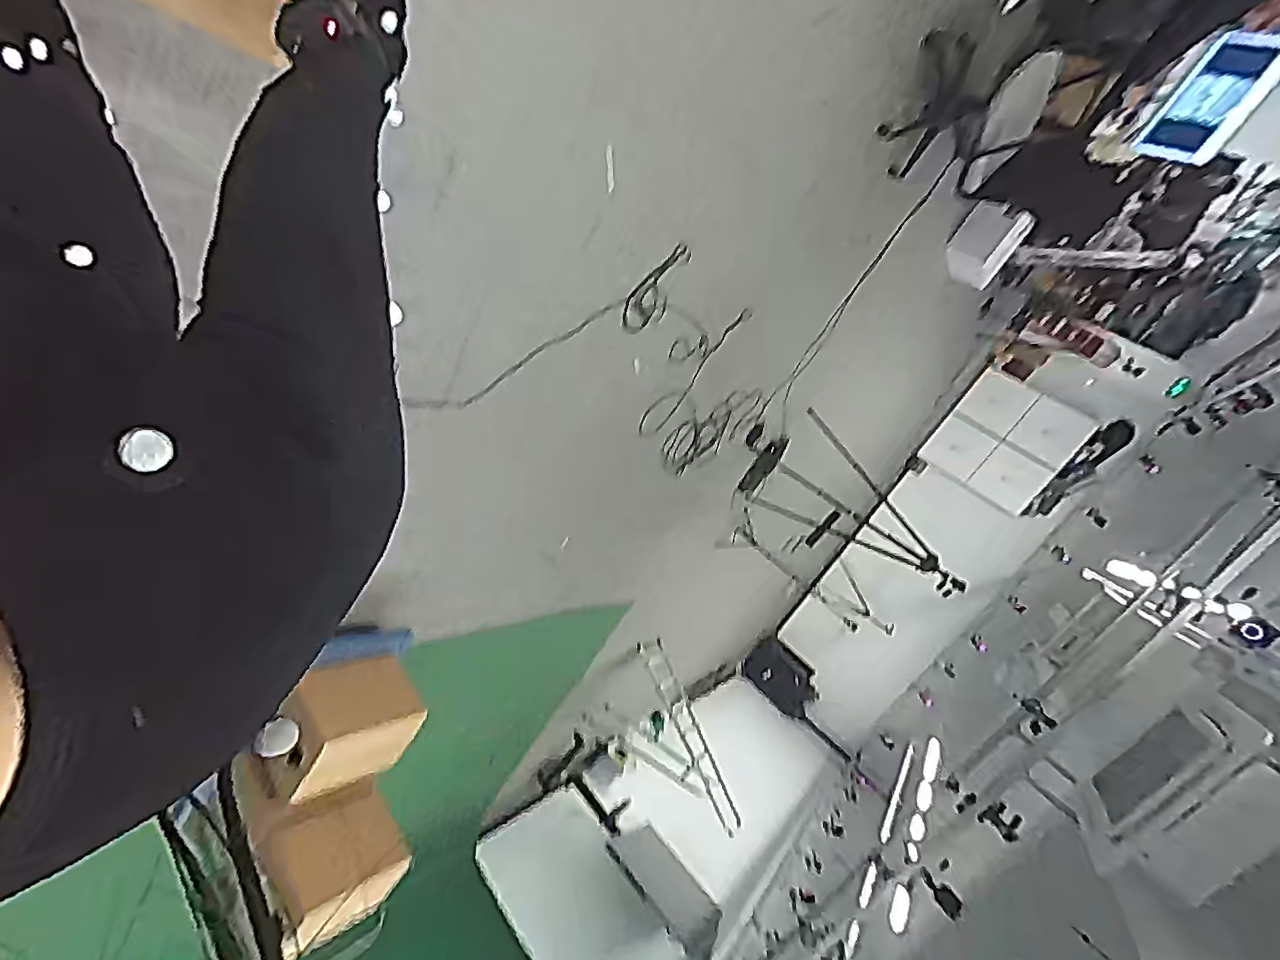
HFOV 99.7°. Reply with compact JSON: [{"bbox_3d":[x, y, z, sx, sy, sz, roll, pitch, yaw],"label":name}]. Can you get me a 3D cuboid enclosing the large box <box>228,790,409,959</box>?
[{"bbox_3d":[-1.133,1.396,1.919,0.320,0.320,0.408,-52,154,11],"label":"large box"}]
